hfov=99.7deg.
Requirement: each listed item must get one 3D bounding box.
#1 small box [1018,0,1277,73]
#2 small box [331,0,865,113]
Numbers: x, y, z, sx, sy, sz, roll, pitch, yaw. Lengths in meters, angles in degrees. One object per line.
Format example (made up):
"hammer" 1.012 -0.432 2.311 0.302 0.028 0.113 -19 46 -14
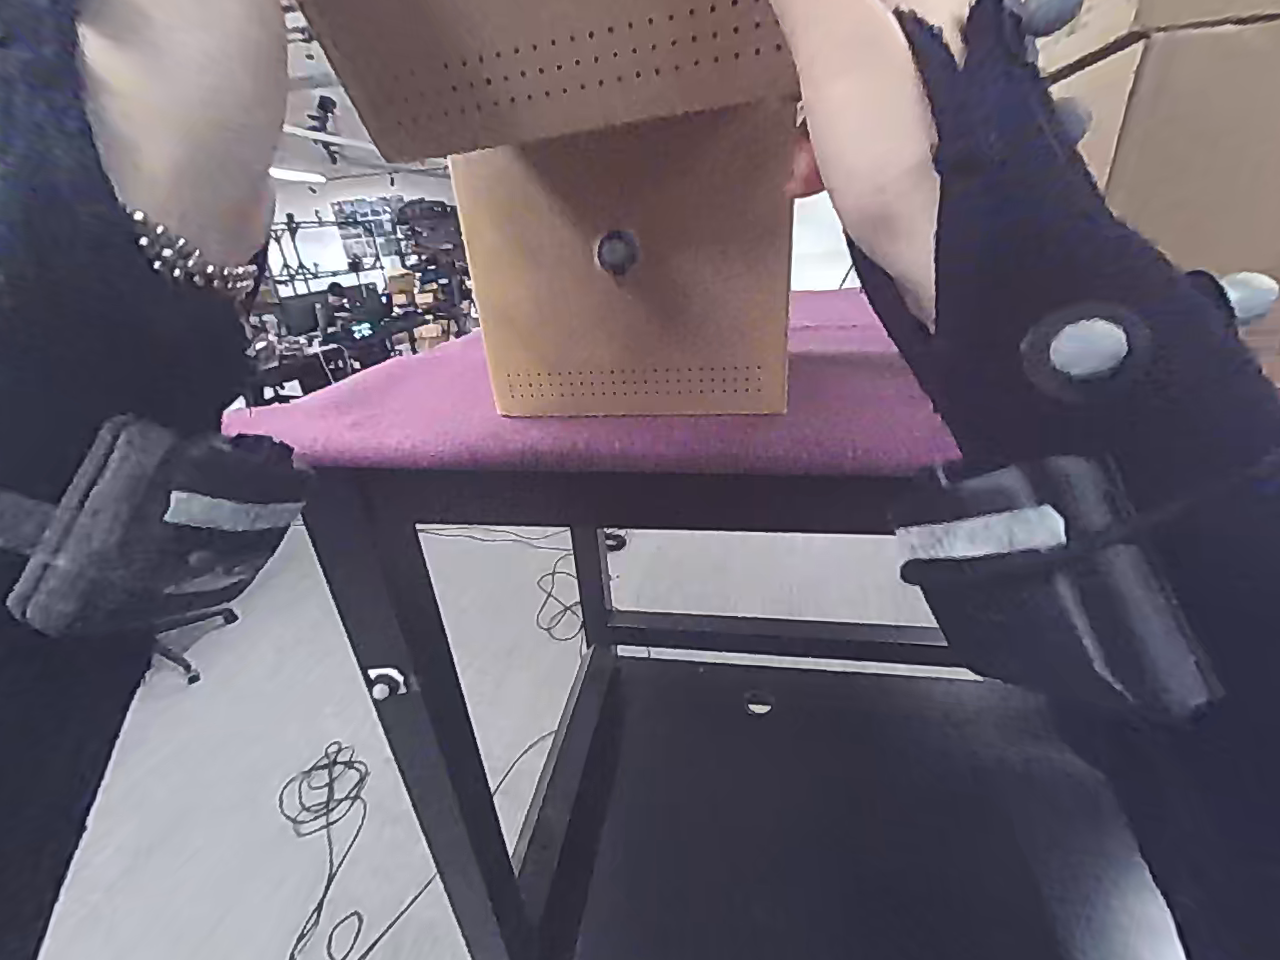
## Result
"small box" 0.313 -0.313 0.258 0.179 0.176 0.168 2 27 12
"small box" -0.023 -0.245 0.166 0.179 0.176 0.168 -3 55 12
